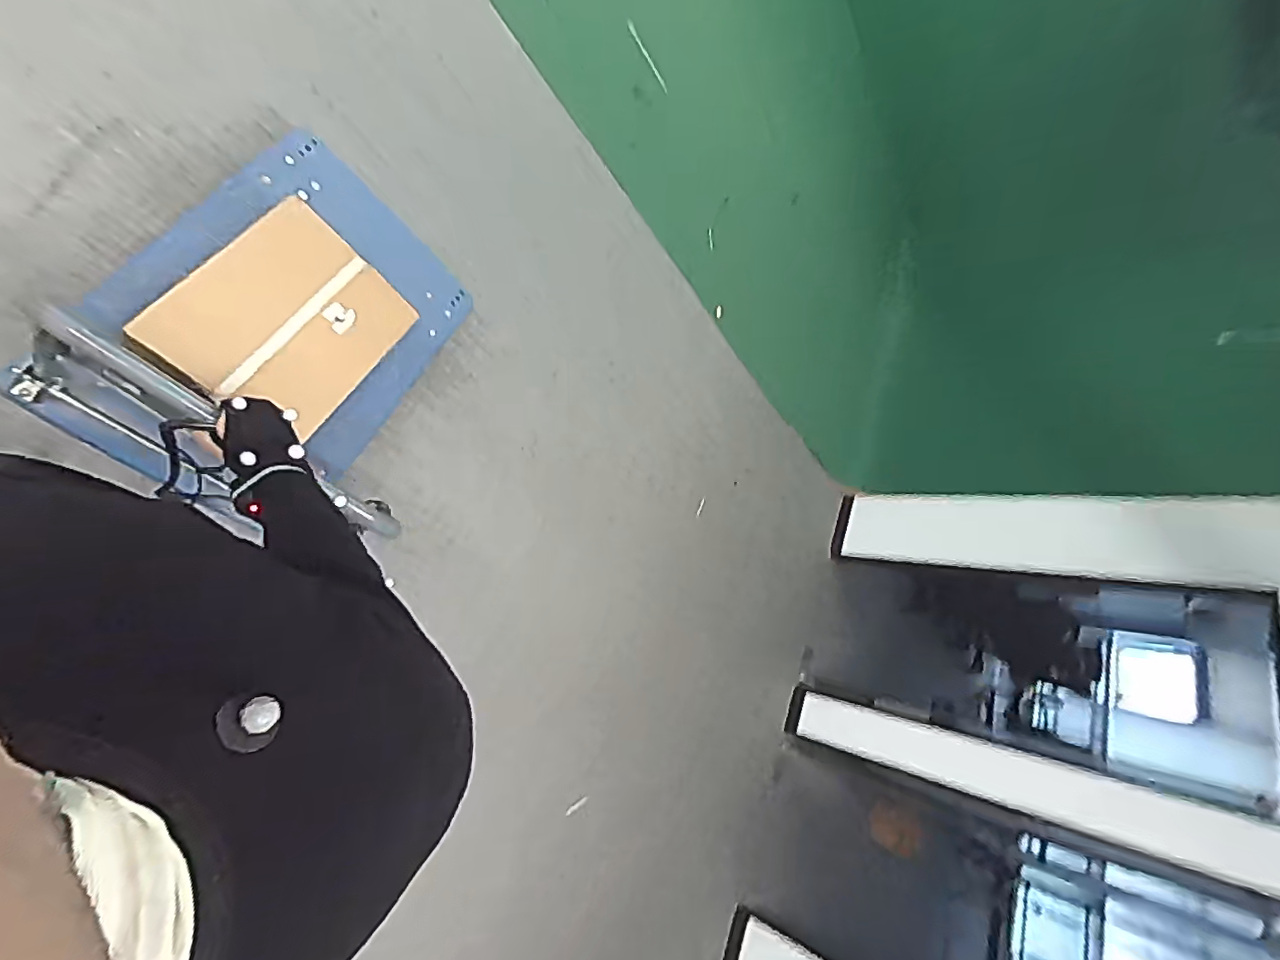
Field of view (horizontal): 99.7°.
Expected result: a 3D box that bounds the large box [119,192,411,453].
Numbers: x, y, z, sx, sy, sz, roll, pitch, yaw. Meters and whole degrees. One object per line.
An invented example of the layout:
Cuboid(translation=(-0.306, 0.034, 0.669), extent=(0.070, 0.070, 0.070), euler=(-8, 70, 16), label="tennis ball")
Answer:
Cuboid(translation=(-0.787, -0.310, 1.155), extent=(0.320, 0.320, 0.408), euler=(47, 57, -35), label="large box")
